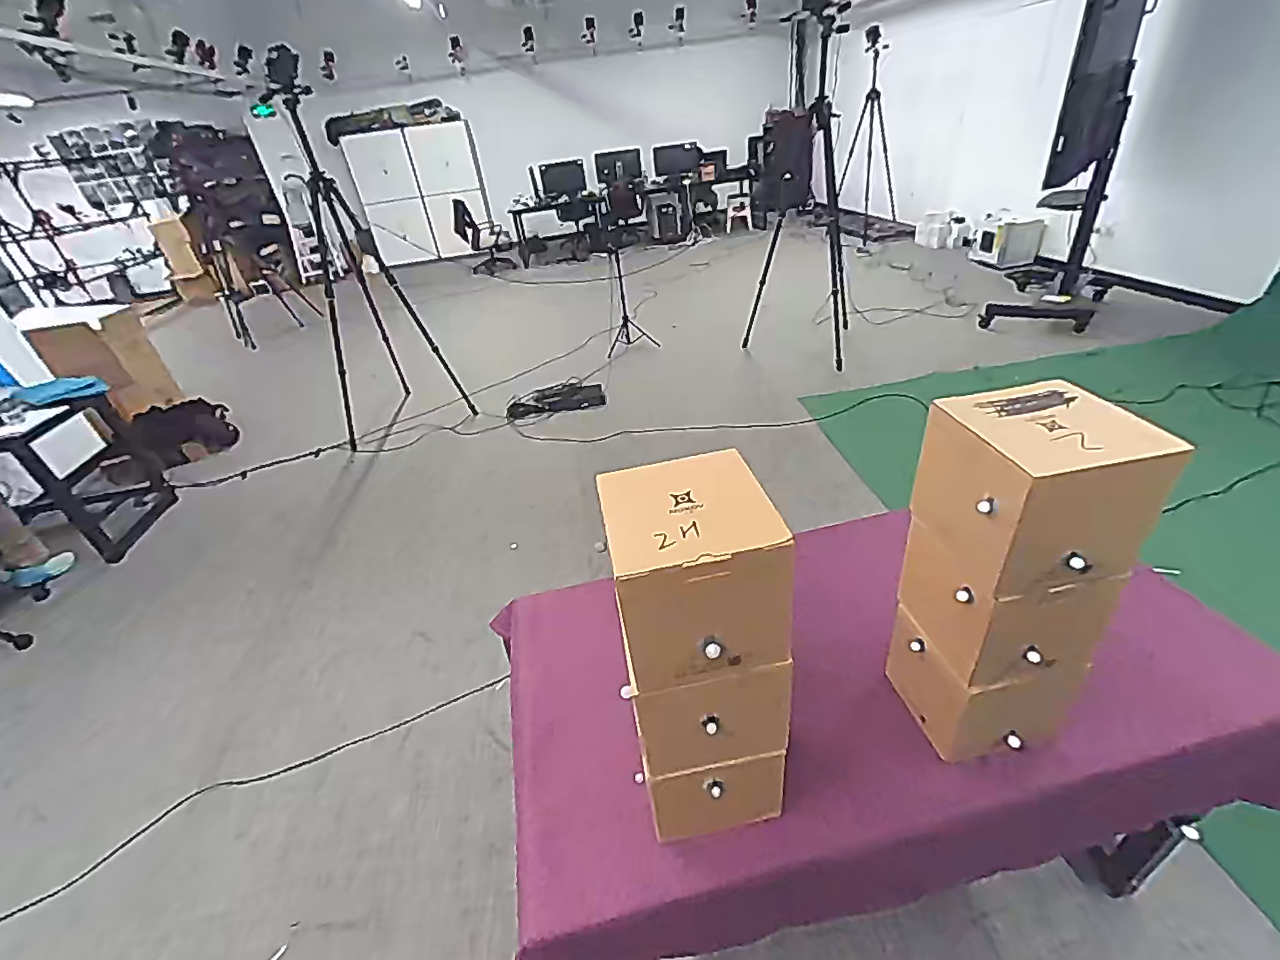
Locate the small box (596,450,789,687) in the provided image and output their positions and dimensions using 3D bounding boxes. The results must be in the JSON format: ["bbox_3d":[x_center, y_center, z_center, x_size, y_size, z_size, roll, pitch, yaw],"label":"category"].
[{"bbox_3d":[0.051,0.092,0.596,0.168,0.176,0.179,-12,34,-4],"label":"small box"}]

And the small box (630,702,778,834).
[{"bbox_3d":[0.086,0.369,0.769,0.179,0.176,0.168,-10,34,-3],"label":"small box"}]

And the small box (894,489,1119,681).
[{"bbox_3d":[0.472,0.139,0.733,0.168,0.176,0.179,-11,34,-3],"label":"small box"}]

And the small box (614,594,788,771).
[{"bbox_3d":[0.072,0.232,0.681,0.179,0.176,0.168,-12,34,-3],"label":"small box"}]

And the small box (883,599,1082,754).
[{"bbox_3d":[0.495,0.279,0.814,0.179,0.176,0.168,-11,33,-4],"label":"small box"}]
